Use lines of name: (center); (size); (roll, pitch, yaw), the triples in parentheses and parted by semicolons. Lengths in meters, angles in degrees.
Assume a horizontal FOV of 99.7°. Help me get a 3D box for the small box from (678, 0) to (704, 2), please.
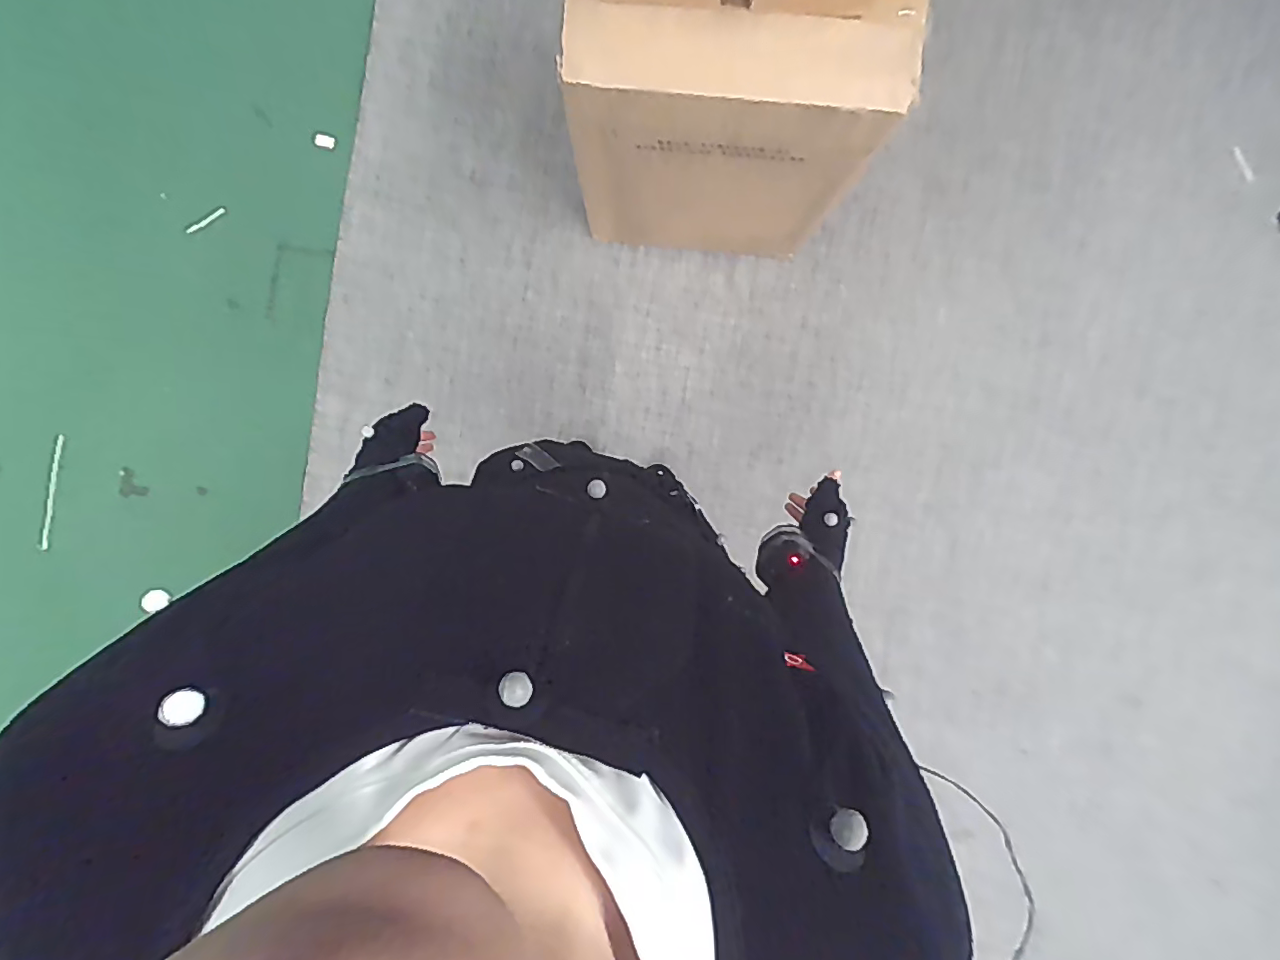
small box: (0.033, -0.764, 0.692); (0.179, 0.176, 0.168); (3, 98, -2)
